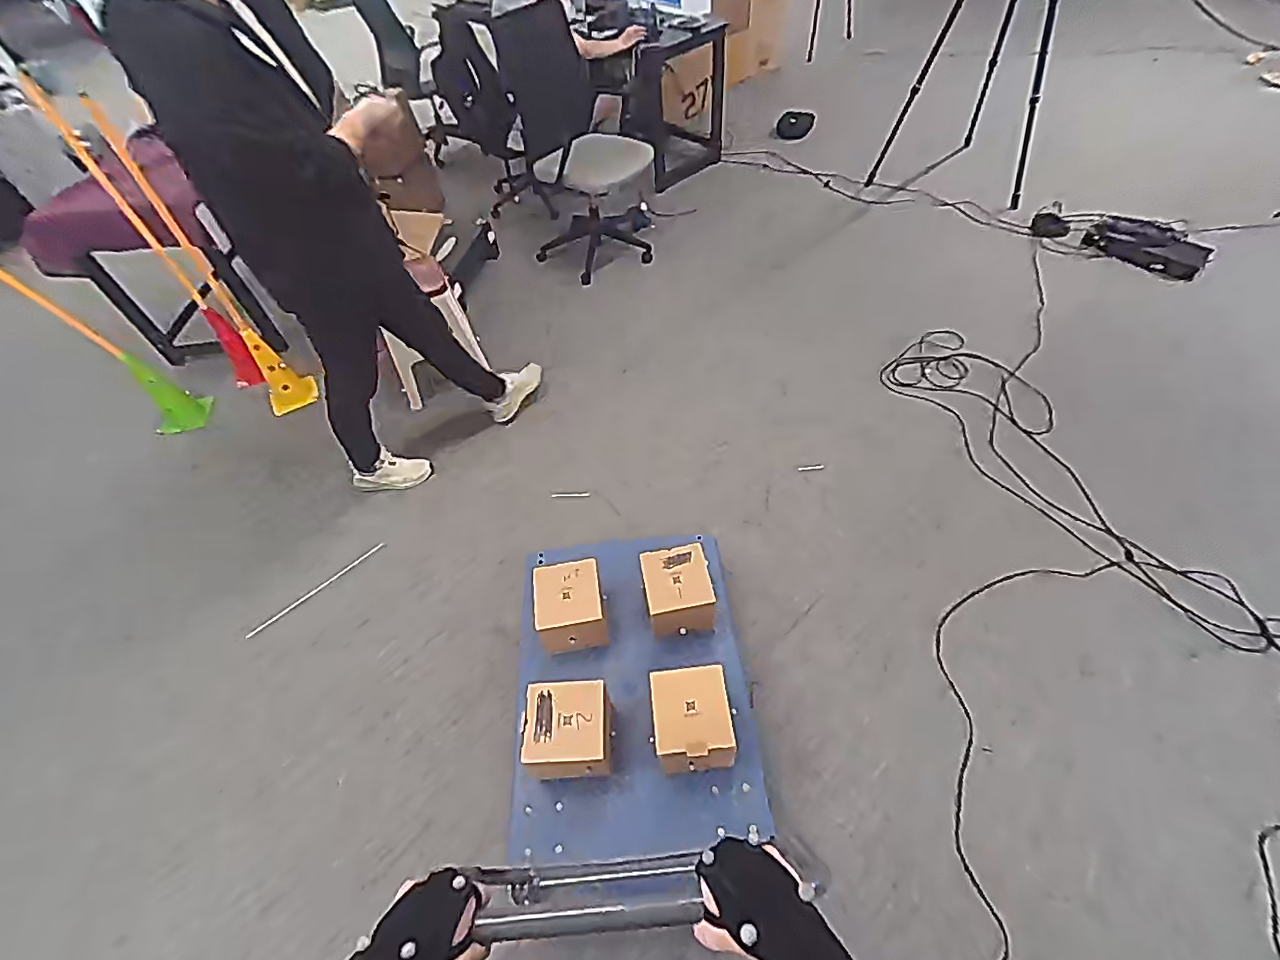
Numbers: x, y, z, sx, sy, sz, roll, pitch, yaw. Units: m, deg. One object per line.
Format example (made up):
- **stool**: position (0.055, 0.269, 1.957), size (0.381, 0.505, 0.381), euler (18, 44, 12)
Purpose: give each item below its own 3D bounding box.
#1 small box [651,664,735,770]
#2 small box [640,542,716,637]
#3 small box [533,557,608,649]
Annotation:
- **small box**: position (0.114, 0.538, 1.227), size (0.168, 0.176, 0.179), euler (-6, 52, 0)
- **small box**: position (0.097, 0.291, 1.422), size (0.168, 0.176, 0.179), euler (-10, 53, -2)
- **small box**: position (-0.180, 0.328, 1.417), size (0.168, 0.176, 0.179), euler (-9, 52, -3)
